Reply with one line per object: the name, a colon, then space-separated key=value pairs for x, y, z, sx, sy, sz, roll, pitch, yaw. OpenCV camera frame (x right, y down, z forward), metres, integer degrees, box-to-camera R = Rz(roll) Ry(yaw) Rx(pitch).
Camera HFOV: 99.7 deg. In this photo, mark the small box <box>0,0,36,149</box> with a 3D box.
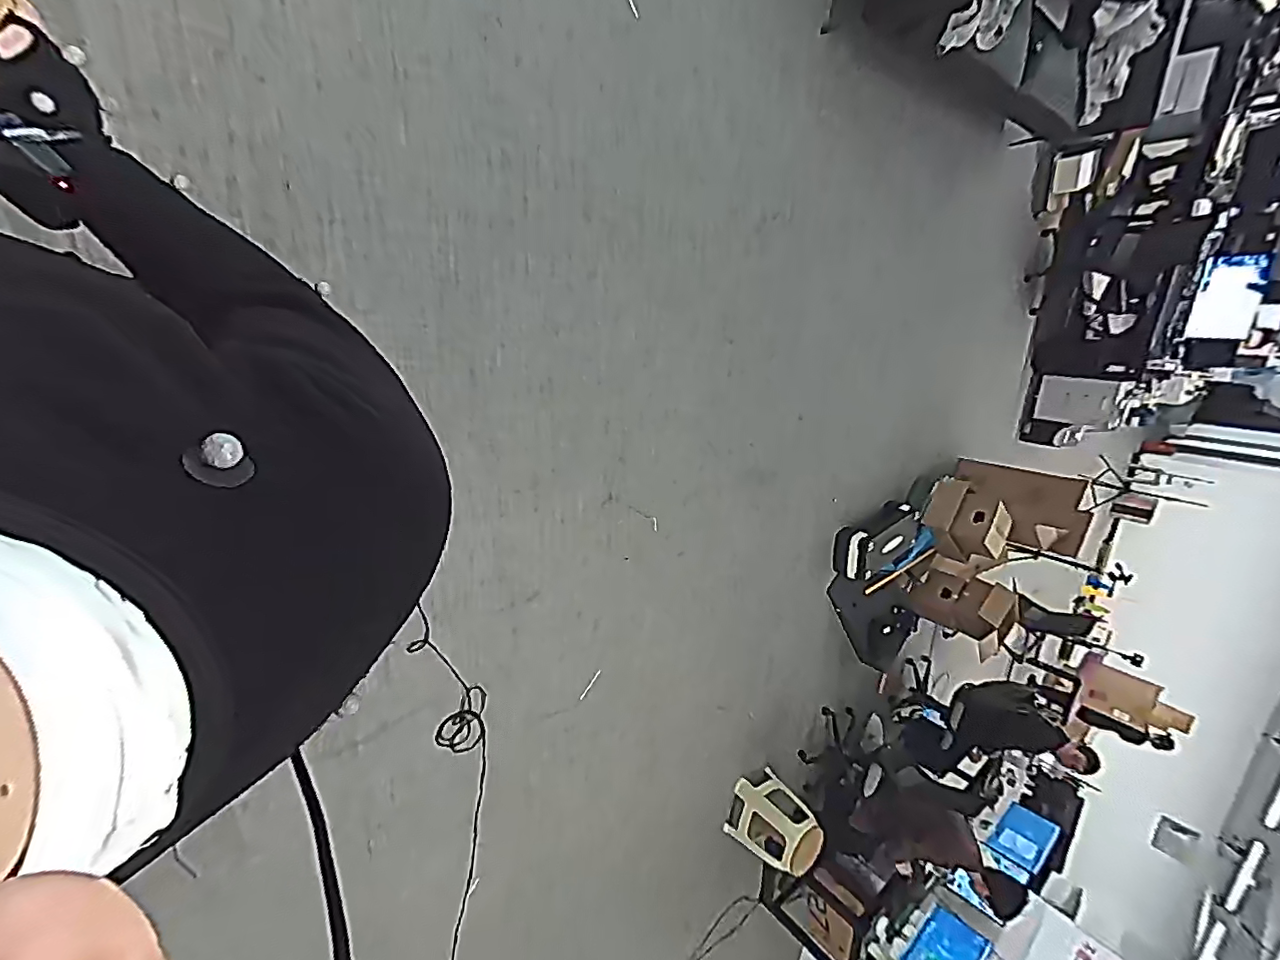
small box: x=-0.636 y=-0.391 z=0.434 sx=0.179 sy=0.176 sz=0.168 roll=-17 pitch=107 yaw=-40
